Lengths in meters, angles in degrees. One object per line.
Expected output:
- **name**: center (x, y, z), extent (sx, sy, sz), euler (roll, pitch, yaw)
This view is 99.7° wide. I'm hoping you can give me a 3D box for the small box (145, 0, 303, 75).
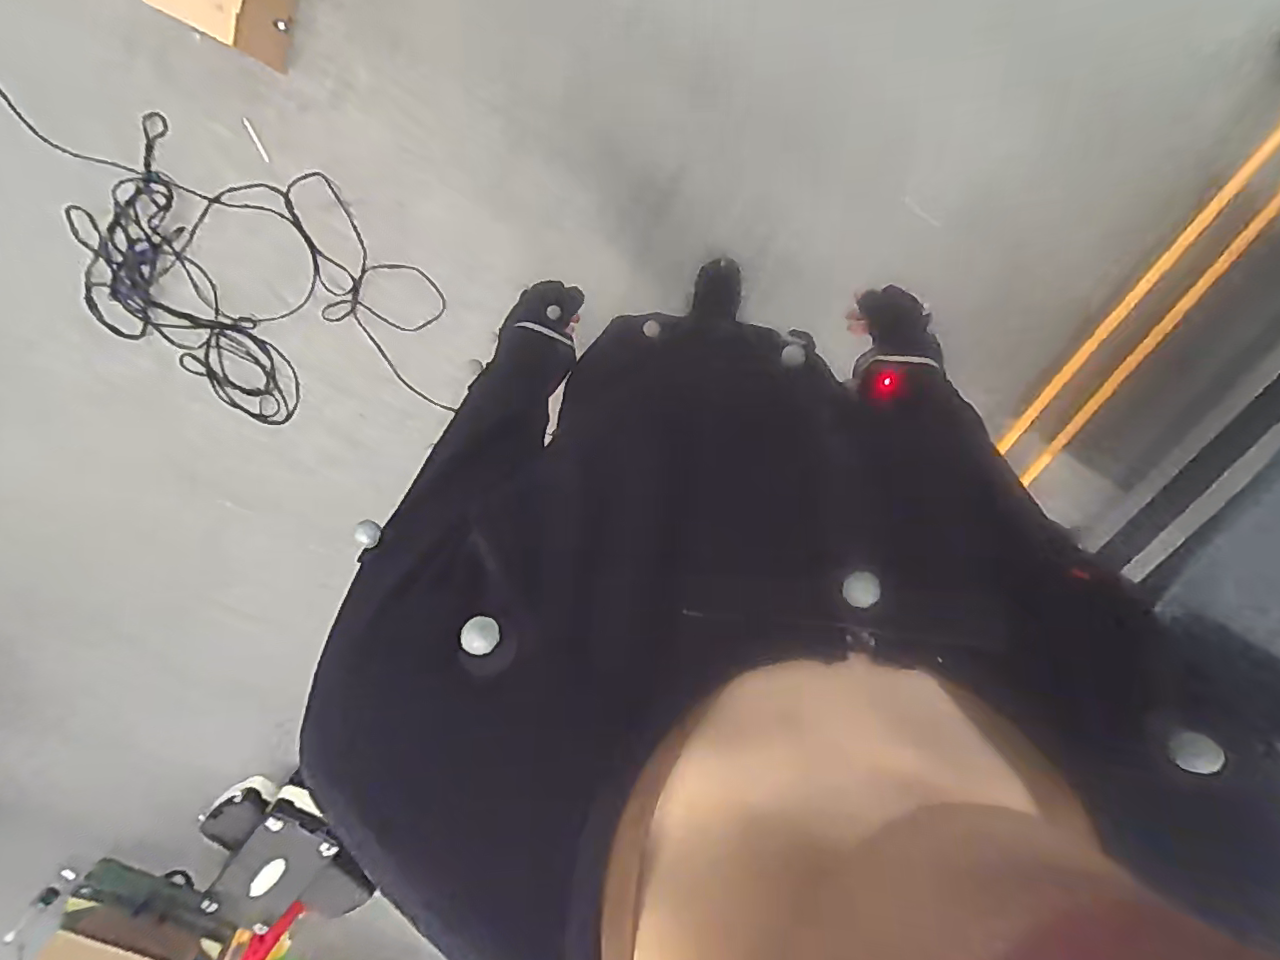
- **small box**: center (-0.825, -0.959, 1.085), extent (0.179, 0.176, 0.168), euler (24, 110, -8)
